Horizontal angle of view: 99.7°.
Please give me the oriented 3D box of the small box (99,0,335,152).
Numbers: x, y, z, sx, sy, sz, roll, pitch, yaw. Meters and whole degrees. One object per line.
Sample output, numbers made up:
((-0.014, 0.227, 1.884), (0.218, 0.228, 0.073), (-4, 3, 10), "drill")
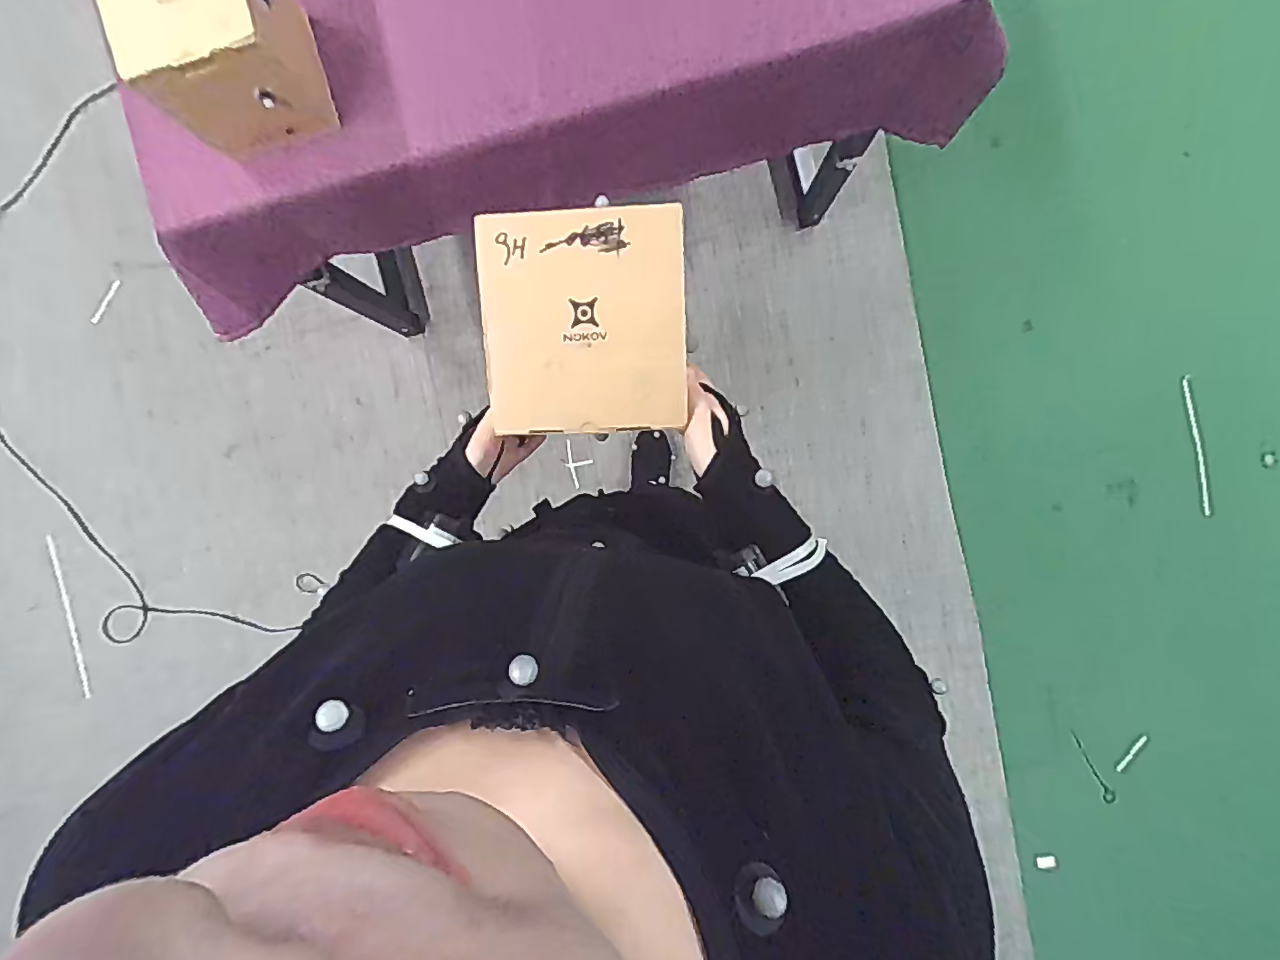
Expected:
((-0.526, -0.555, 0.688), (0.168, 0.176, 0.179), (-16, 90, 1), "small box")

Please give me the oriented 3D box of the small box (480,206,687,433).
((-0.039, -0.143, 0.517), (0.168, 0.176, 0.179), (-2, 101, 2), "small box")
